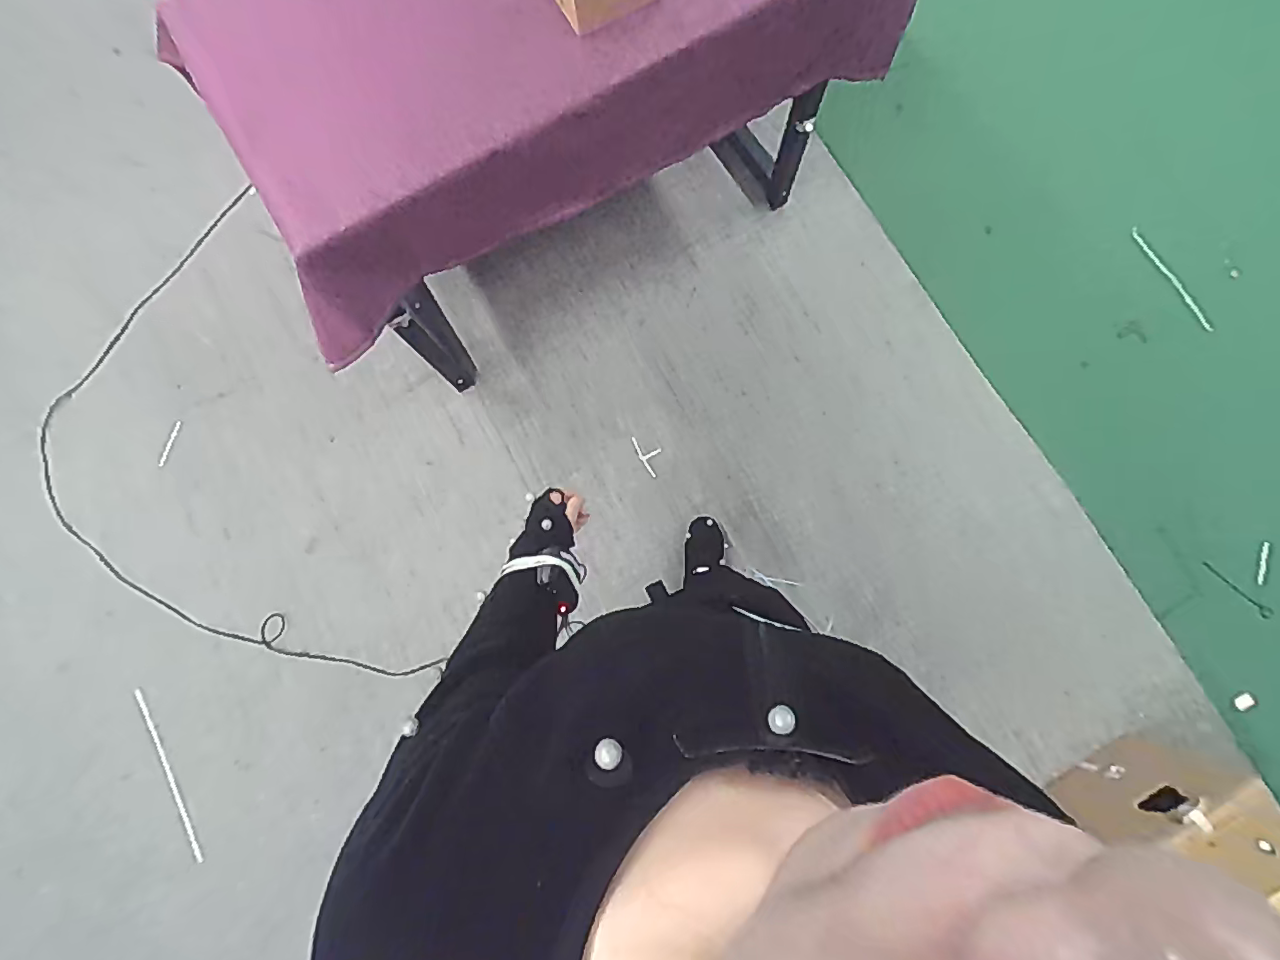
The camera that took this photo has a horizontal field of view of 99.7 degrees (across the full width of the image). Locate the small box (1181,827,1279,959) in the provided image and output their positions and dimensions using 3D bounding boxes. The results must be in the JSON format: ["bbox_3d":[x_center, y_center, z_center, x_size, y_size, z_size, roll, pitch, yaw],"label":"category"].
[{"bbox_3d":[1.159,0.768,0.976,0.168,0.176,0.179,-26,81,-3],"label":"small box"}]

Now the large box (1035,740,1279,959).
[{"bbox_3d":[1.219,0.879,1.204,0.320,0.320,0.408,-29,81,-4],"label":"large box"}]
